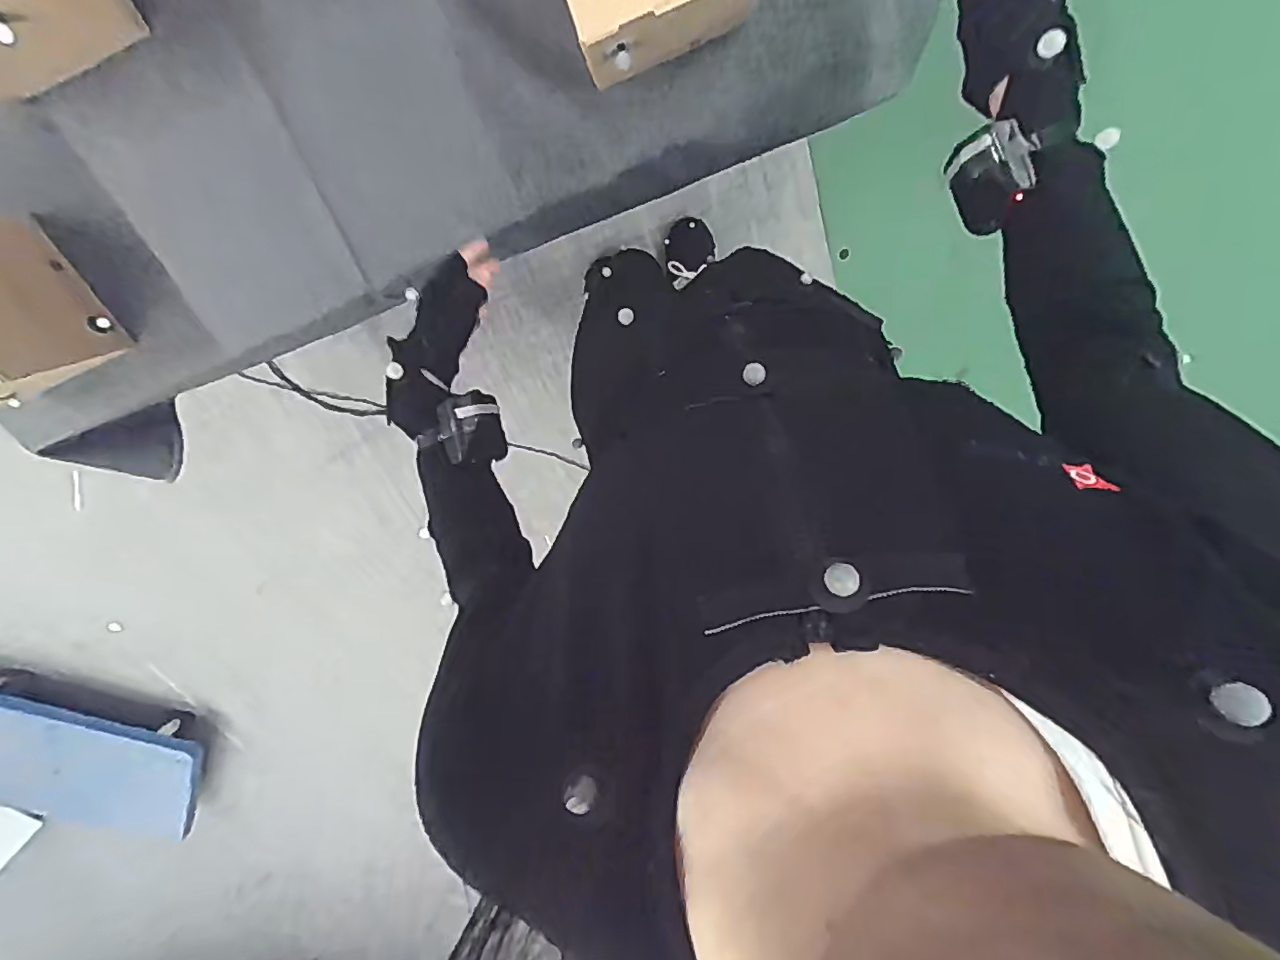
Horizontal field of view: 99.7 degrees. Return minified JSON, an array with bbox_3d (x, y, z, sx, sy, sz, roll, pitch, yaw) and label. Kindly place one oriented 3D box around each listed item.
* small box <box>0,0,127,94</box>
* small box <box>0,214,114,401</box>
[{"bbox_3d":[-0.595,-0.454,0.446,0.179,0.176,0.168,-18,117,8],"label":"small box"},{"bbox_3d":[-0.743,-0.174,0.585,0.179,0.176,0.168,-20,115,9],"label":"small box"}]
